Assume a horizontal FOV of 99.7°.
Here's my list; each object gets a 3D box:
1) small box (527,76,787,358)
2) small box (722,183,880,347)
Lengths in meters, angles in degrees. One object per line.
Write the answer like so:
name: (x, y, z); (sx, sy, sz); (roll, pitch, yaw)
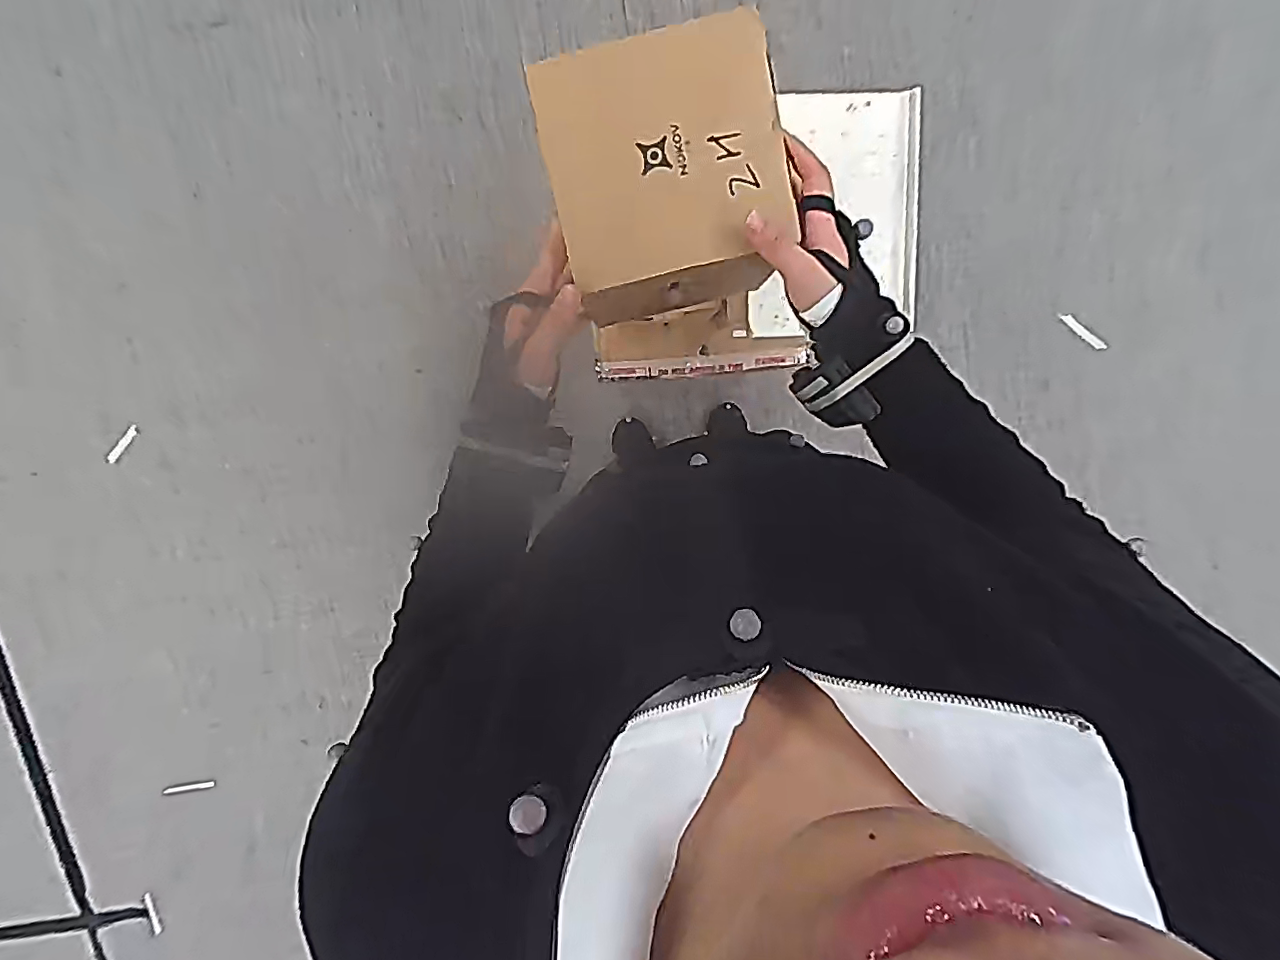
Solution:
small box: (0.016, -0.213, 0.491); (0.179, 0.176, 0.168); (-12, 98, 2)
small box: (0.205, -0.280, 0.736); (0.168, 0.176, 0.179); (-3, 100, -3)
